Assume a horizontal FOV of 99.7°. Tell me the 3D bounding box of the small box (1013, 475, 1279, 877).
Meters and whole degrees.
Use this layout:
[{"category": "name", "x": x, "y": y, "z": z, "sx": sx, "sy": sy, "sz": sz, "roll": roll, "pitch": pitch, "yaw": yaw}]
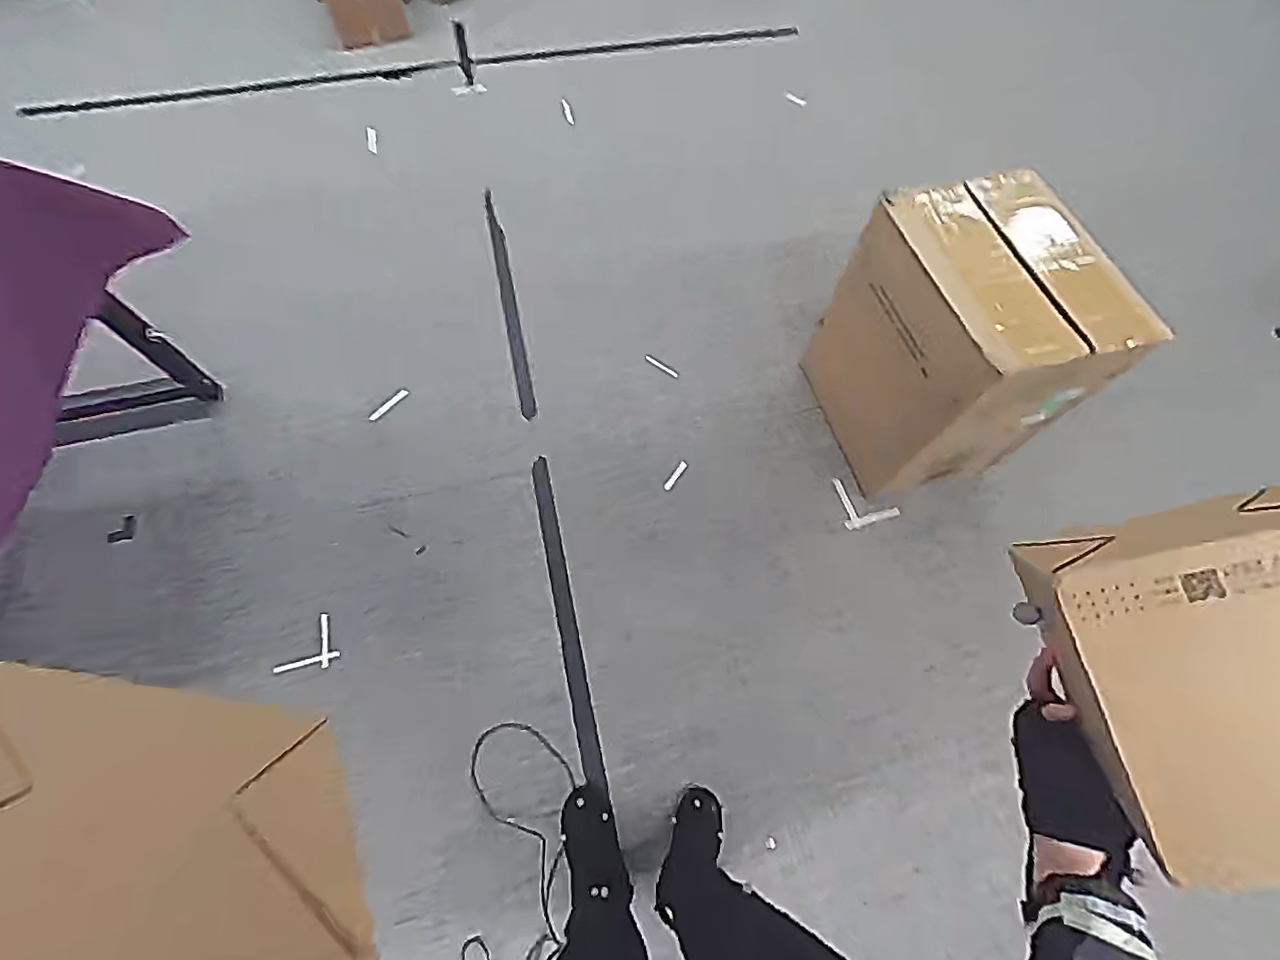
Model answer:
[{"category": "small box", "x": 0.351, "y": 0.096, "z": 0.322, "sx": 0.168, "sy": 0.179, "sz": 0.176, "roll": -21, "pitch": 79, "yaw": 27}]
